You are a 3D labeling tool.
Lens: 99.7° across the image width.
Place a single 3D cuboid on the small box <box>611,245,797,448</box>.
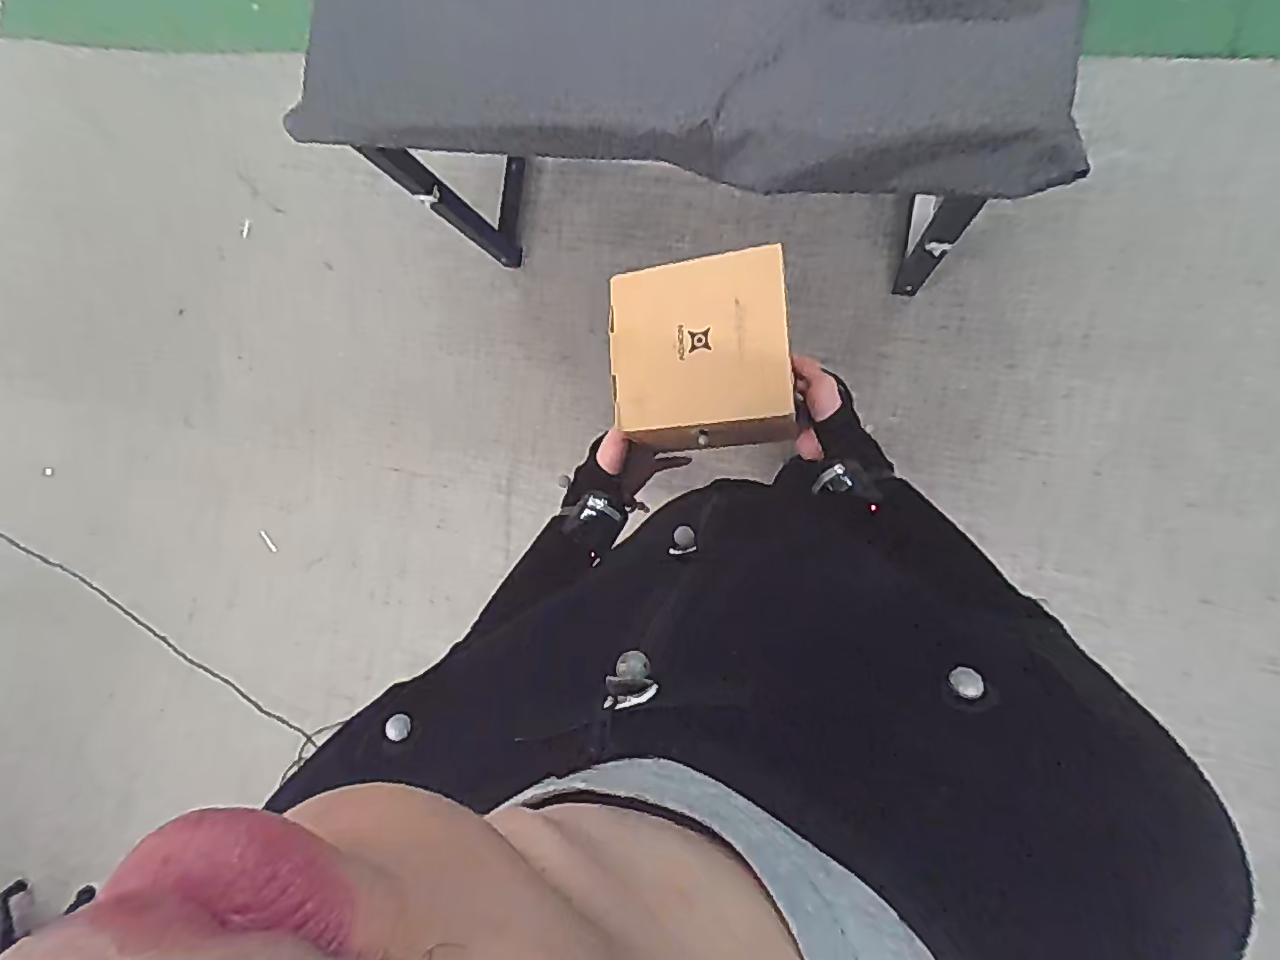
[{"bbox_3d":[0.079,-0.131,0.603,0.179,0.176,0.168,-4,85,16],"label":"small box"}]
